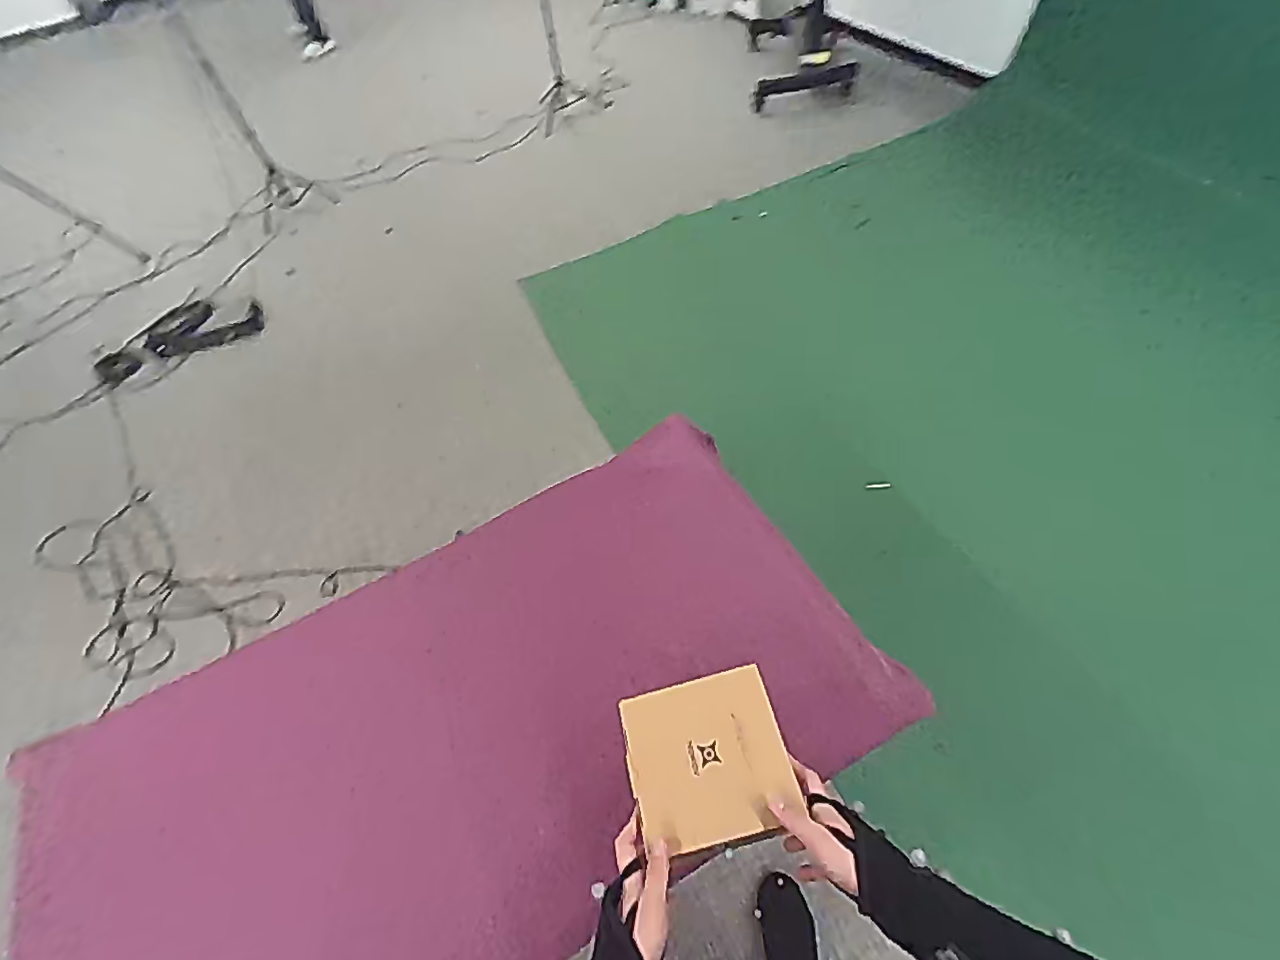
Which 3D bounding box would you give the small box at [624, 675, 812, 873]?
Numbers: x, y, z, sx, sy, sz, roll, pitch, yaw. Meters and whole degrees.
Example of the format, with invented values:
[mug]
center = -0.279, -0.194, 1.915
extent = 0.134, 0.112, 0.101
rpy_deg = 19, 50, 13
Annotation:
[small box]
center = 0.094, 0.361, 0.656
extent = 0.179, 0.176, 0.168
rpy_deg = -15, 52, 2
